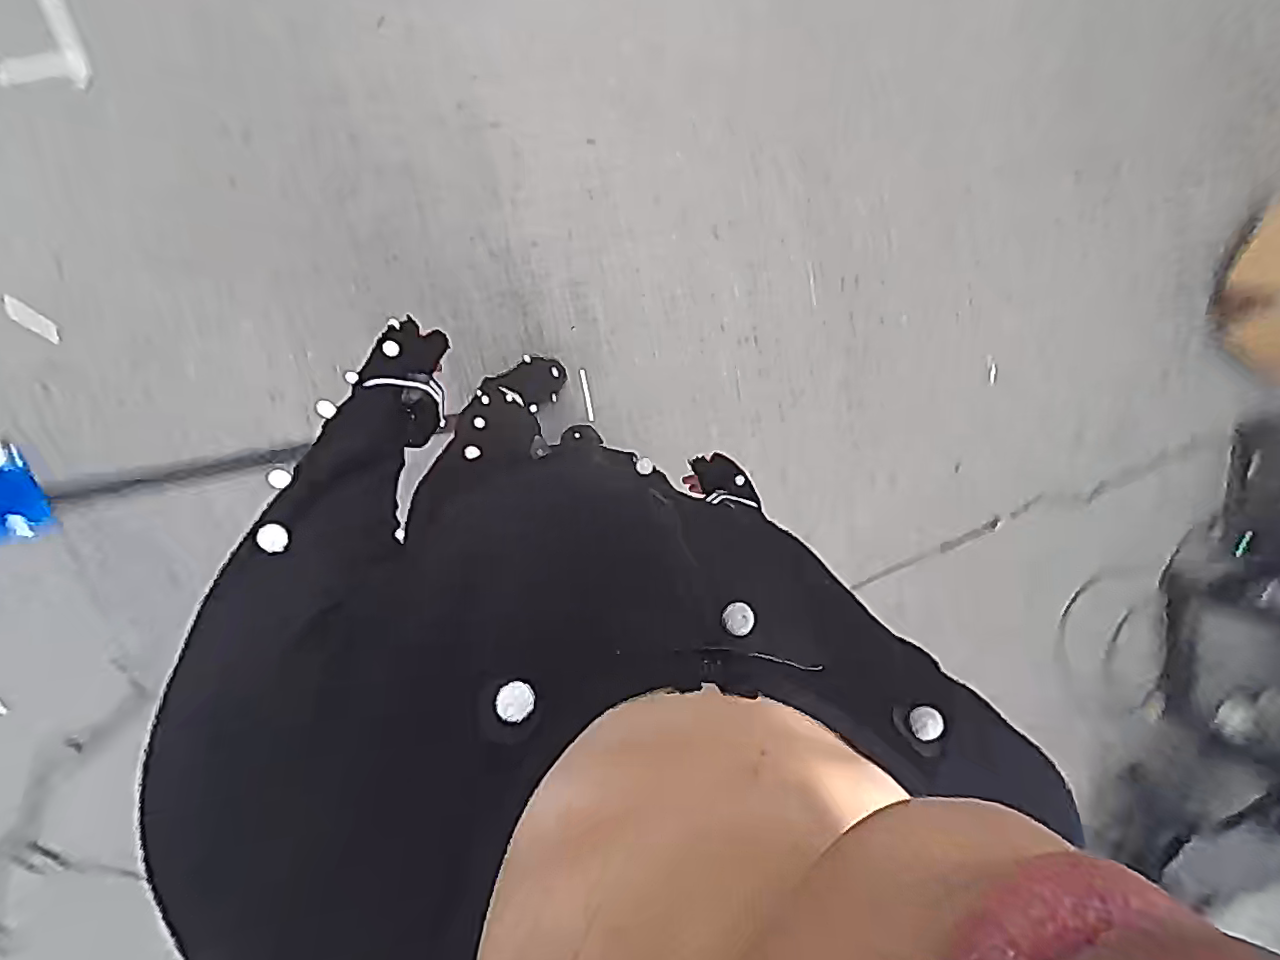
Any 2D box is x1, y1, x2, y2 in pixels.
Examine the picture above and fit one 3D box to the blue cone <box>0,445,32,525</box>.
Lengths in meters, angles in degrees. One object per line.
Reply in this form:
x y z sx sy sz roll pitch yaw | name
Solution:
-1.448 0.048 1.040 0.193 0.380 0.192 -16 102 -9 | blue cone
